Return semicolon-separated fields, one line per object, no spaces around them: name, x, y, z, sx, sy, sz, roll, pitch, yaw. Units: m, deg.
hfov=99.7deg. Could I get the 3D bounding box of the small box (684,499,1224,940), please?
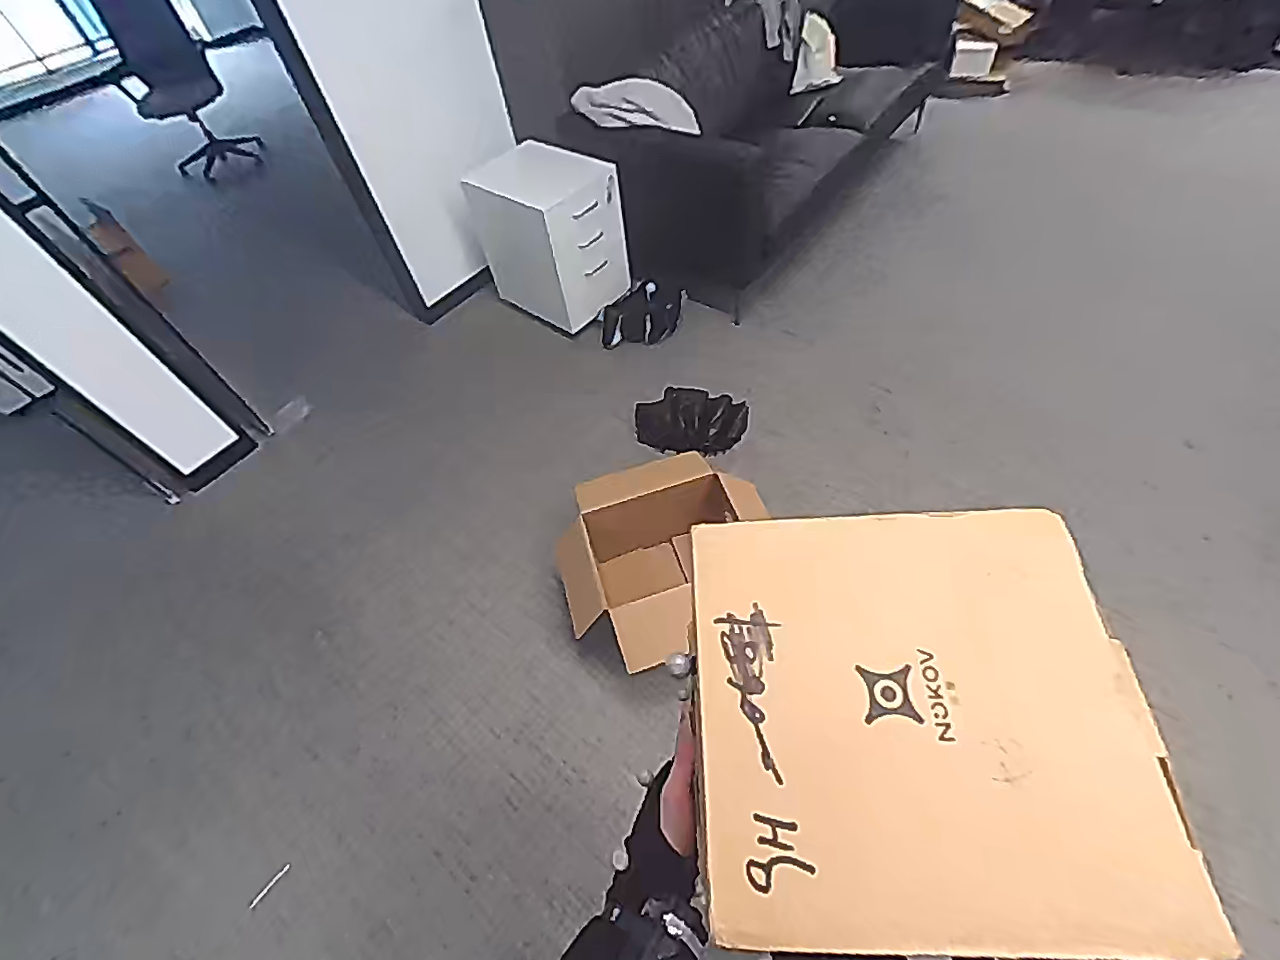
small box;0.114;0.120;0.291;0.179;0.176;0.168;-2;60;4
